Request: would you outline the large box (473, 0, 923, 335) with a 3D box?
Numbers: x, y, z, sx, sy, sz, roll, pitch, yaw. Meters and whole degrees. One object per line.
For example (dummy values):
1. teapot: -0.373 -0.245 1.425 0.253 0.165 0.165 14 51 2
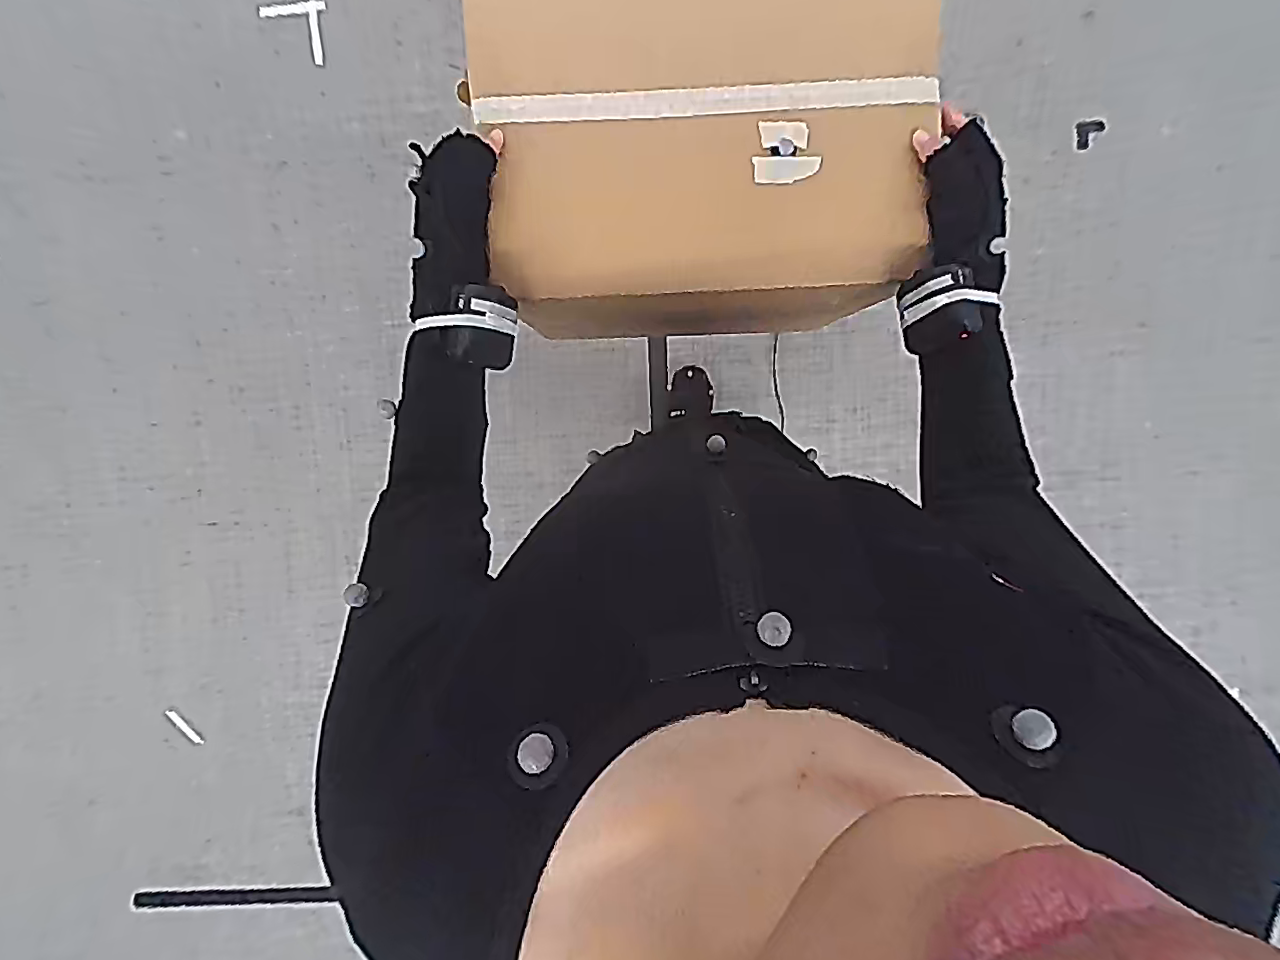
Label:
1. large box: 0.053 -0.360 0.635 0.408 0.320 0.320 -3 98 -1
